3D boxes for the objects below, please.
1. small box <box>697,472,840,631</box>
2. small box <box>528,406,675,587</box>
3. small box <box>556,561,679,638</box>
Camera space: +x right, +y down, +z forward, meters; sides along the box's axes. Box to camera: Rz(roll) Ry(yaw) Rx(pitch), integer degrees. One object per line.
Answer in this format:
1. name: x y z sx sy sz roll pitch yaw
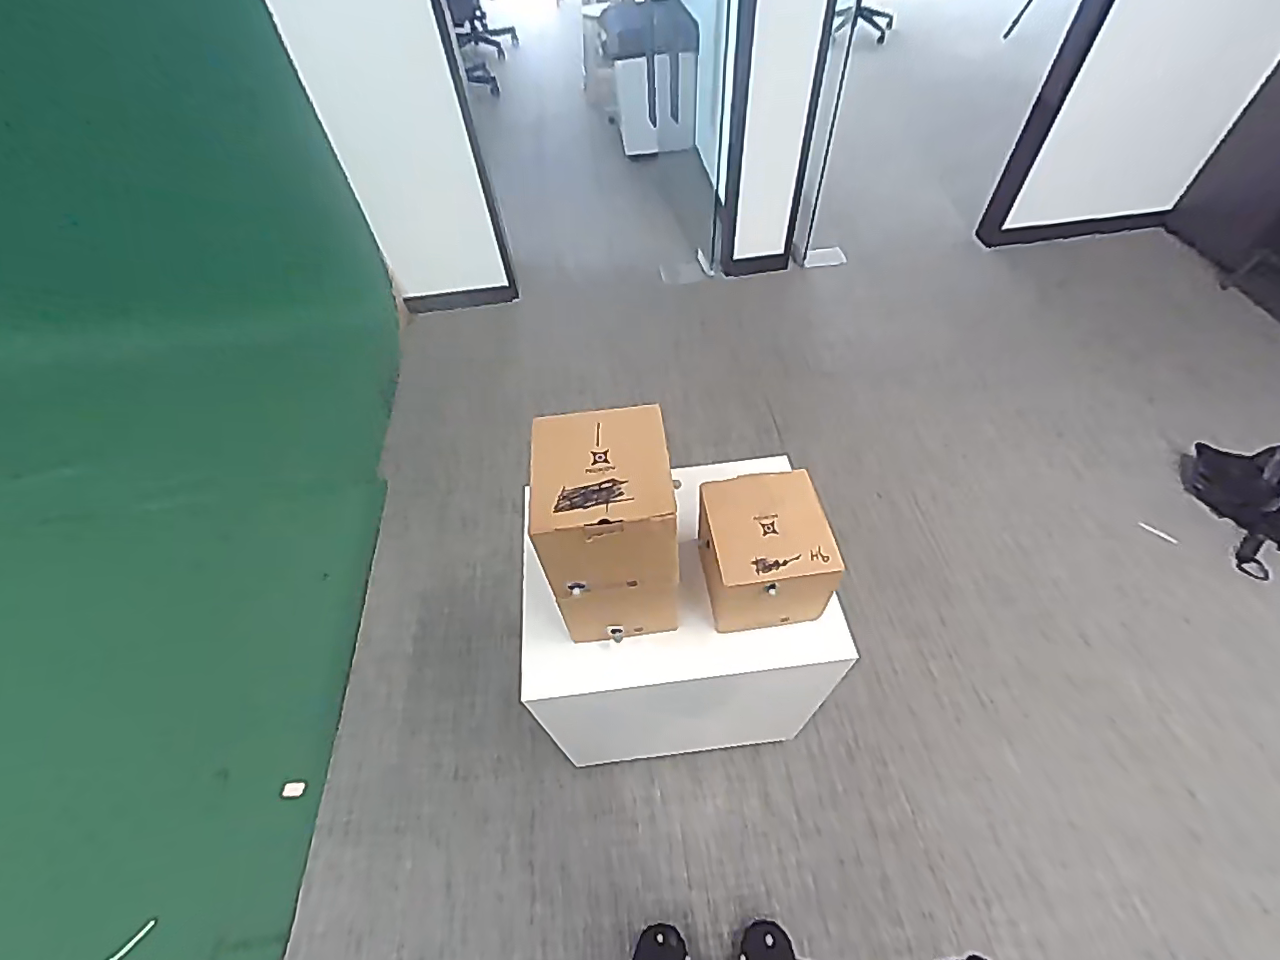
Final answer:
1. small box: 0.183 0.112 0.836 0.168 0.176 0.179 -7 52 -1
2. small box: -0.044 0.029 0.711 0.168 0.176 0.179 -6 51 0
3. small box: -0.037 0.120 0.828 0.168 0.176 0.179 -9 54 -2
